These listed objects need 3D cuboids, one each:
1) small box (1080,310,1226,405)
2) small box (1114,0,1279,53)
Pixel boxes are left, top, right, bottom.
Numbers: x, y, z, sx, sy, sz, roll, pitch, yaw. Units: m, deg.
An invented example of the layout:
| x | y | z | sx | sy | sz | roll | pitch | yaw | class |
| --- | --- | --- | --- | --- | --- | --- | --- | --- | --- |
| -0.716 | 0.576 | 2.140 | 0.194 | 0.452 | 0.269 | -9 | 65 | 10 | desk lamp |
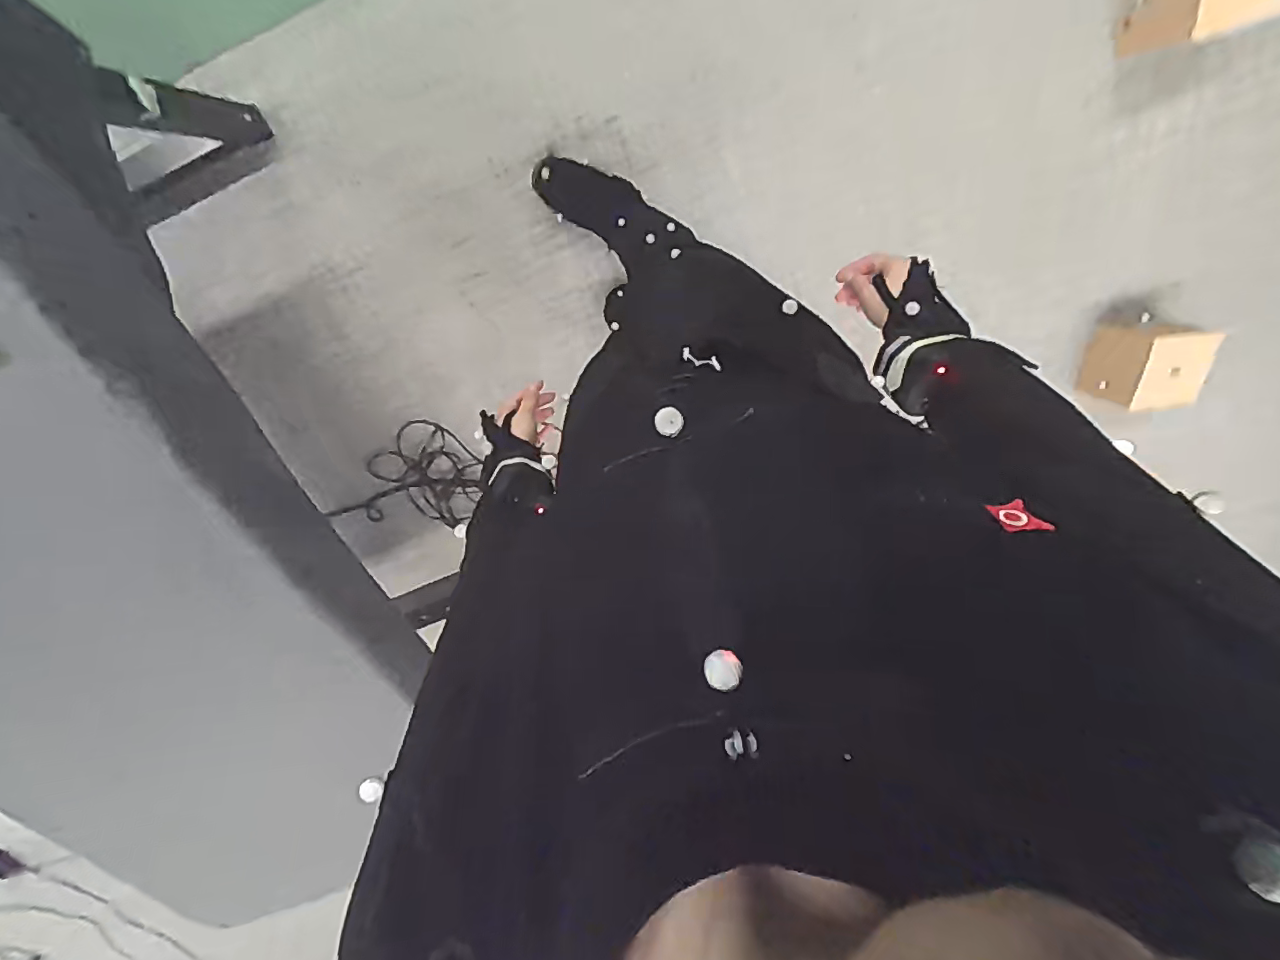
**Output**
| x | y | z | sx | sy | sz | roll | pitch | yaw | class |
| --- | --- | --- | --- | --- | --- | --- | --- | --- | --- |
| 1.212 | -0.298 | 1.297 | 0.168 | 0.176 | 0.179 | -7 | 117 | -2 | small box |
| 1.008 | -0.902 | 0.962 | 0.179 | 0.176 | 0.168 | -18 | 118 | 6 | small box |
